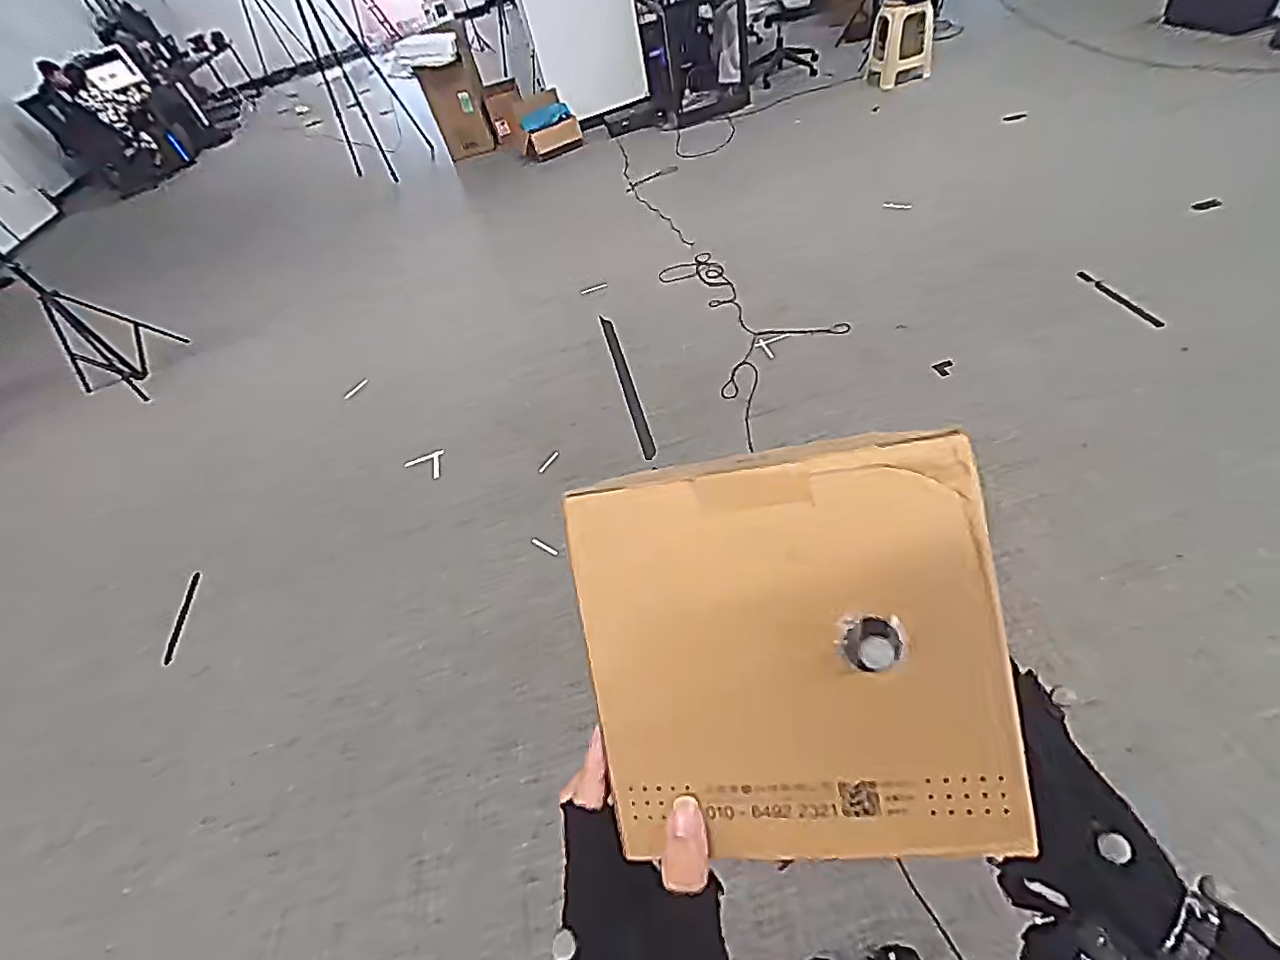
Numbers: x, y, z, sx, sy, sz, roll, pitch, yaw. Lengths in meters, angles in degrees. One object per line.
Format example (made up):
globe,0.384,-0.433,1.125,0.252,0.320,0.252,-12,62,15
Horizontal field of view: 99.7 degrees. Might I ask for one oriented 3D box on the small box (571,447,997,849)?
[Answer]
small box,0.080,0.081,0.318,0.168,0.179,0.176,-10,91,15
